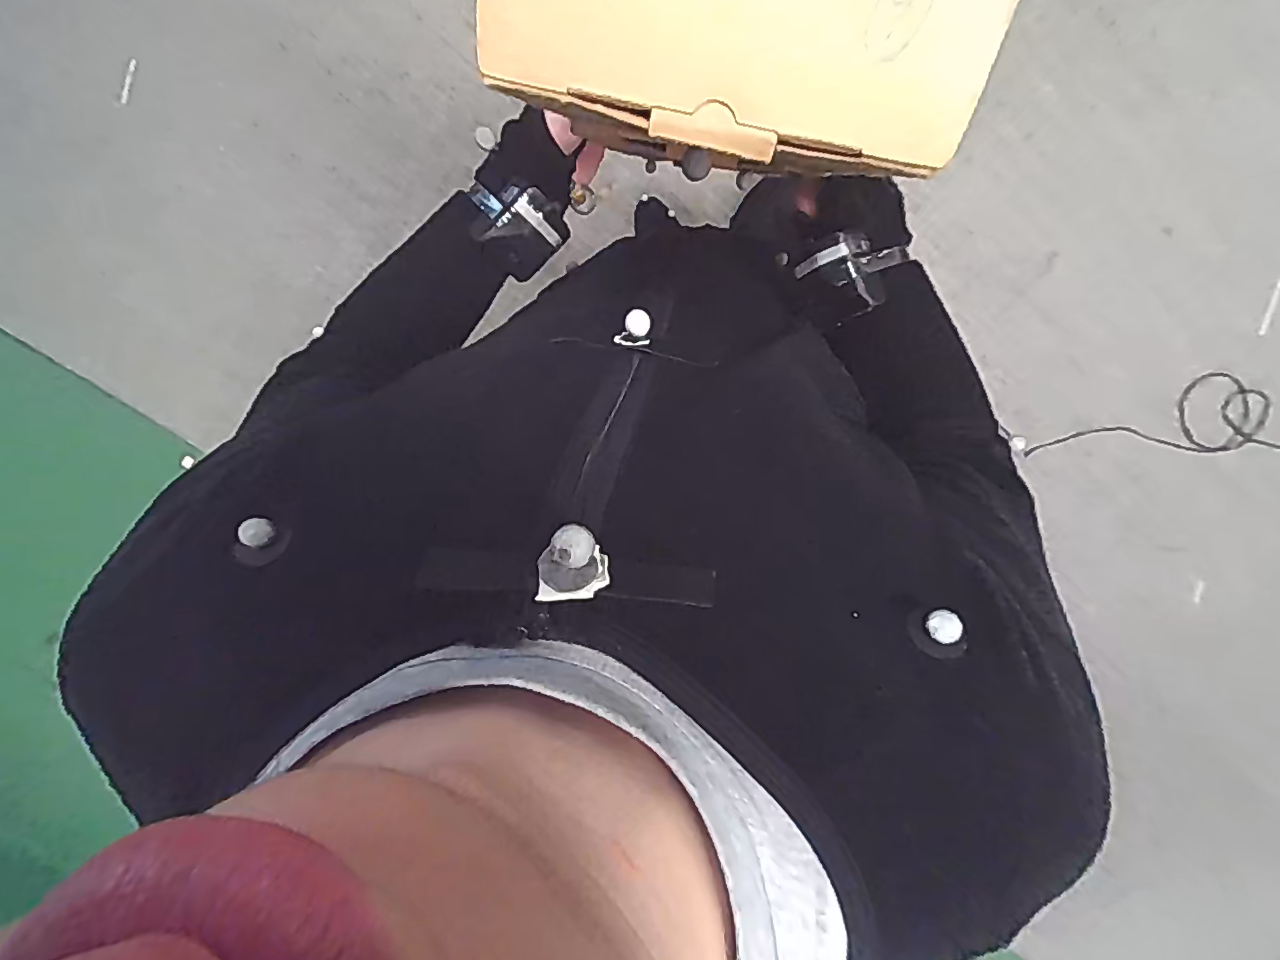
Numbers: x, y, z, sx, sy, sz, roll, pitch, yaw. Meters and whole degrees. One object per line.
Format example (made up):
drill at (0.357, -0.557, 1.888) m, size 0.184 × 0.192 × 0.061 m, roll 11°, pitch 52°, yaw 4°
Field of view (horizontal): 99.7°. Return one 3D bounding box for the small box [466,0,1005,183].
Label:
small box at (0.043, -0.232, 0.207) m, size 0.168 × 0.176 × 0.179 m, roll 11°, pitch 122°, yaw -2°

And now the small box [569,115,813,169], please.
small box at (0.054, -0.312, 0.349) m, size 0.168 × 0.176 × 0.179 m, roll 8°, pitch 120°, yaw 0°
